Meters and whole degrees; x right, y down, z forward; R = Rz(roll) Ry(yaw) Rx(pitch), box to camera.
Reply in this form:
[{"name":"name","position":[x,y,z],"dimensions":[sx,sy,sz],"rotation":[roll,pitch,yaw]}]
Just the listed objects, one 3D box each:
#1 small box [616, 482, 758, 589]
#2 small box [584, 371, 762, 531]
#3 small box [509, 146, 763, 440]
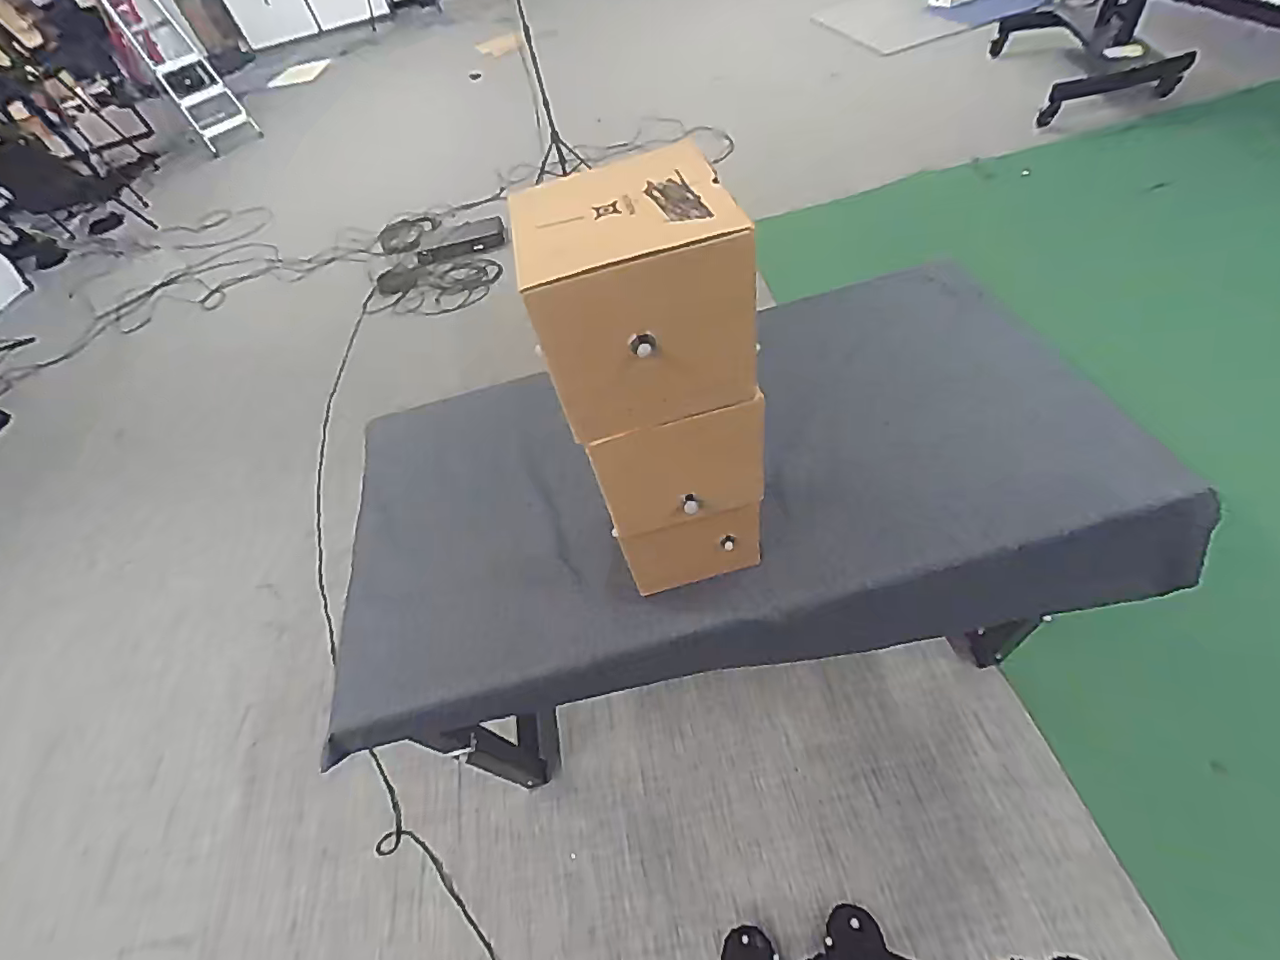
[{"name":"small box","position":[0.054,0.027,0.752],"dimensions":[0.179,0.176,0.168],"rotation":[-17,51,1]},{"name":"small box","position":[0.029,-0.066,0.620],"dimensions":[0.179,0.176,0.168],"rotation":[-15,51,0]},{"name":"small box","position":[-0.003,-0.164,0.492],"dimensions":[0.179,0.176,0.168],"rotation":[-16,52,-2]}]
